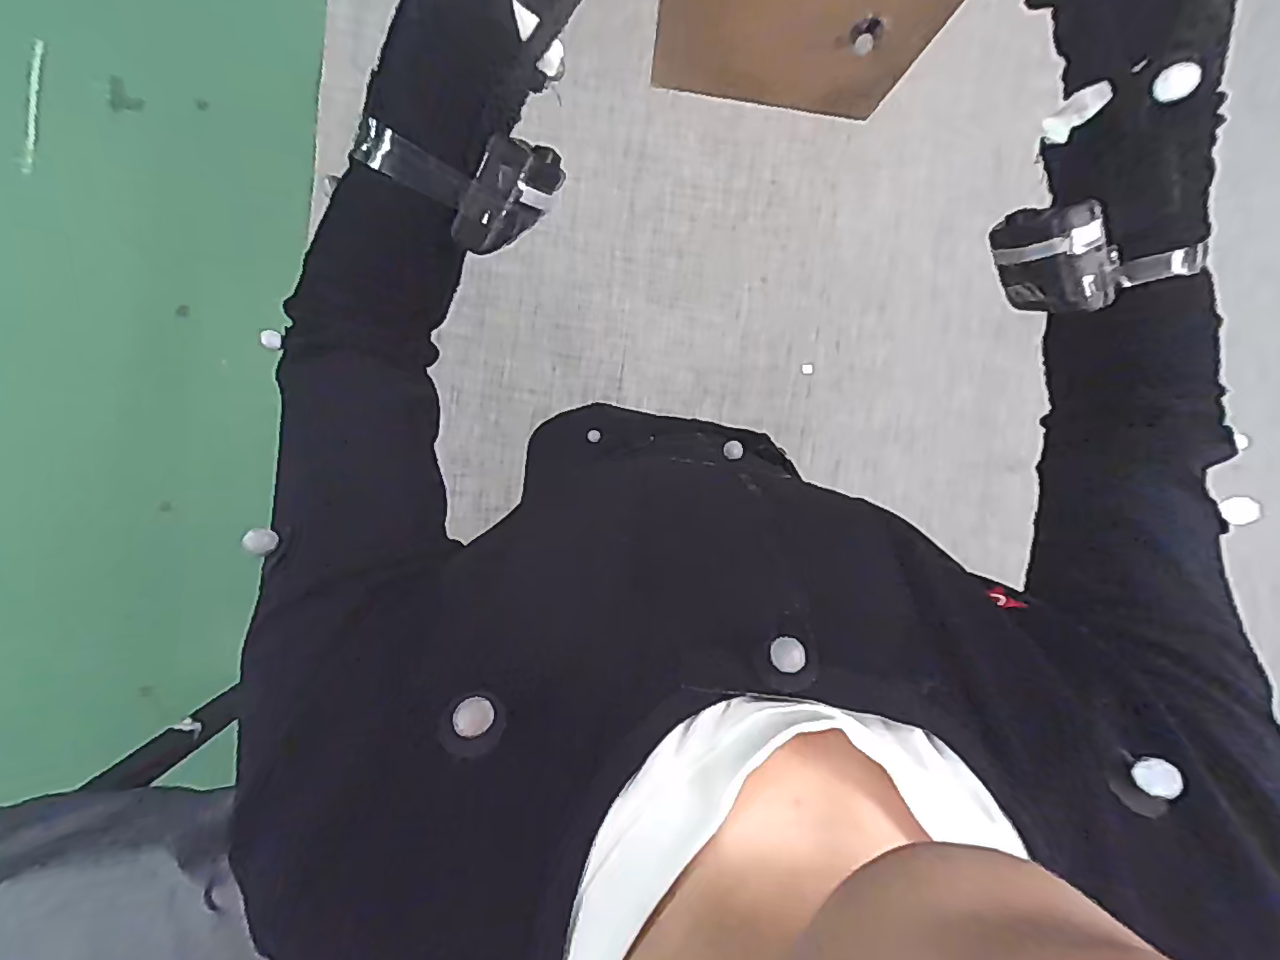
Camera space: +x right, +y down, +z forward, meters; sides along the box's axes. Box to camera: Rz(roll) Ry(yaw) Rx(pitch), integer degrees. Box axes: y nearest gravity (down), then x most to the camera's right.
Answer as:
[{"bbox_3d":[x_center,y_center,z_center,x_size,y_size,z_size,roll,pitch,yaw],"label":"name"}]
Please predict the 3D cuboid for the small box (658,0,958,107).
[{"bbox_3d":[0.113,-0.372,0.337,0.179,0.176,0.168,5,93,-4],"label":"small box"}]
